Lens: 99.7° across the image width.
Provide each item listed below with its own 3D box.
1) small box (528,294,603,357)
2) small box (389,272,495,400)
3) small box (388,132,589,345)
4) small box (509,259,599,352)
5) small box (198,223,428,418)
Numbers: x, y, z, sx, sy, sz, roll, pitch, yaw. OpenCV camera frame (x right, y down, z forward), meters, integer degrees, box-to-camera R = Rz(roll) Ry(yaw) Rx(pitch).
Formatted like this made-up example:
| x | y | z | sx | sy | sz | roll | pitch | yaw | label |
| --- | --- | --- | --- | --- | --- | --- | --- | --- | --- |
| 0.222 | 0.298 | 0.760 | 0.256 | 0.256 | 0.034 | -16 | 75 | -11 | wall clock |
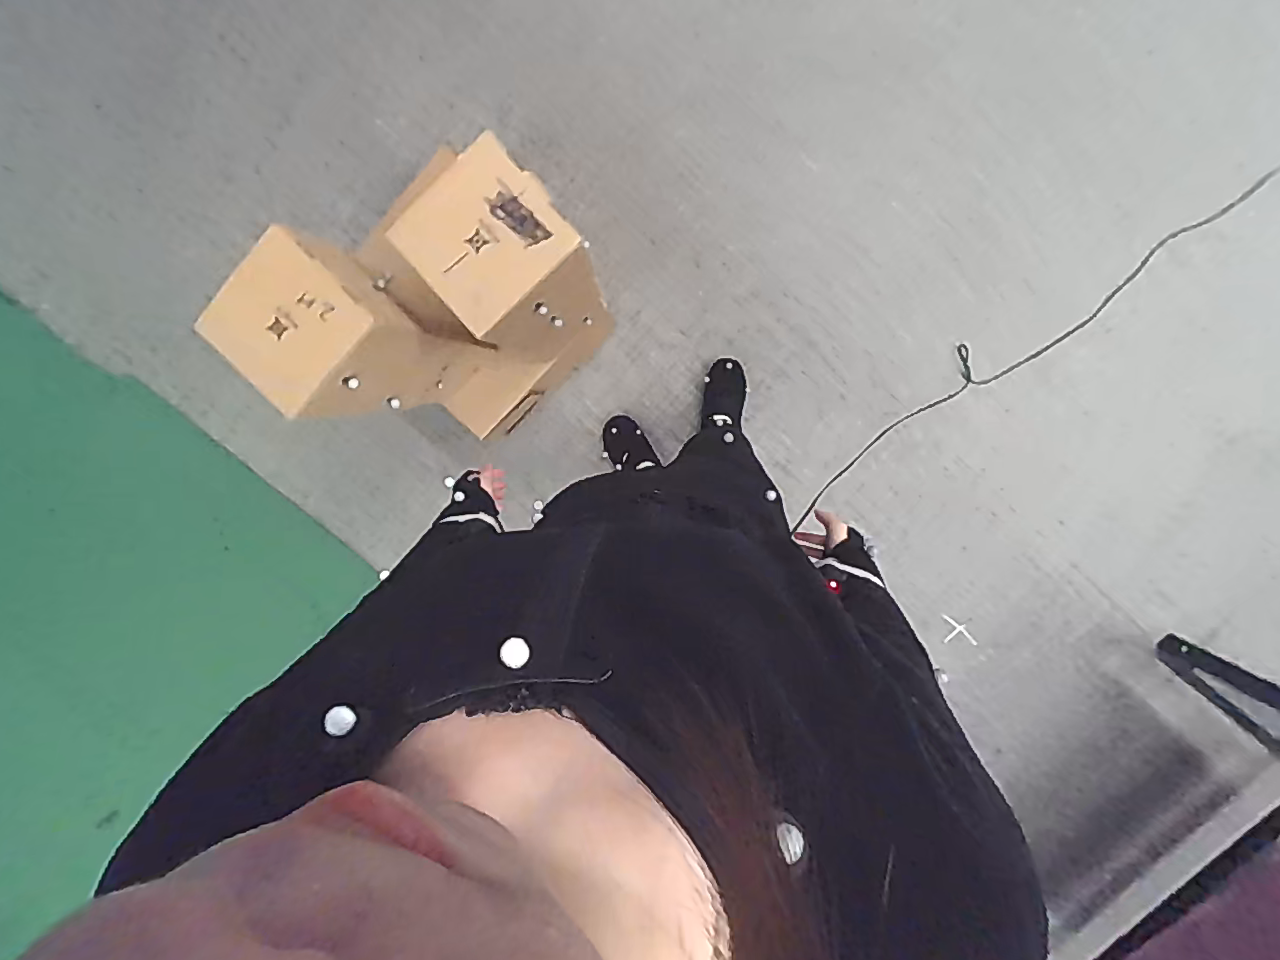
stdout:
| x | y | z | sx | sy | sz | roll | pitch | yaw | label |
| --- | --- | --- | --- | --- | --- | --- | --- | --- | --- |
| -0.188 | -0.354 | 1.041 | 0.168 | 0.176 | 0.179 | -41 | 95 | 7 | small box |
| -0.421 | -0.272 | 1.067 | 0.168 | 0.176 | 0.179 | -42 | 94 | 10 | small box |
| -0.183 | -0.301 | 0.718 | 0.179 | 0.176 | 0.168 | -41 | 96 | 8 | small box |
| -0.181 | -0.328 | 0.880 | 0.179 | 0.176 | 0.168 | -41 | 96 | 8 | small box |
| -0.431 | -0.206 | 0.743 | 0.179 | 0.176 | 0.168 | -44 | 95 | 10 | small box |
